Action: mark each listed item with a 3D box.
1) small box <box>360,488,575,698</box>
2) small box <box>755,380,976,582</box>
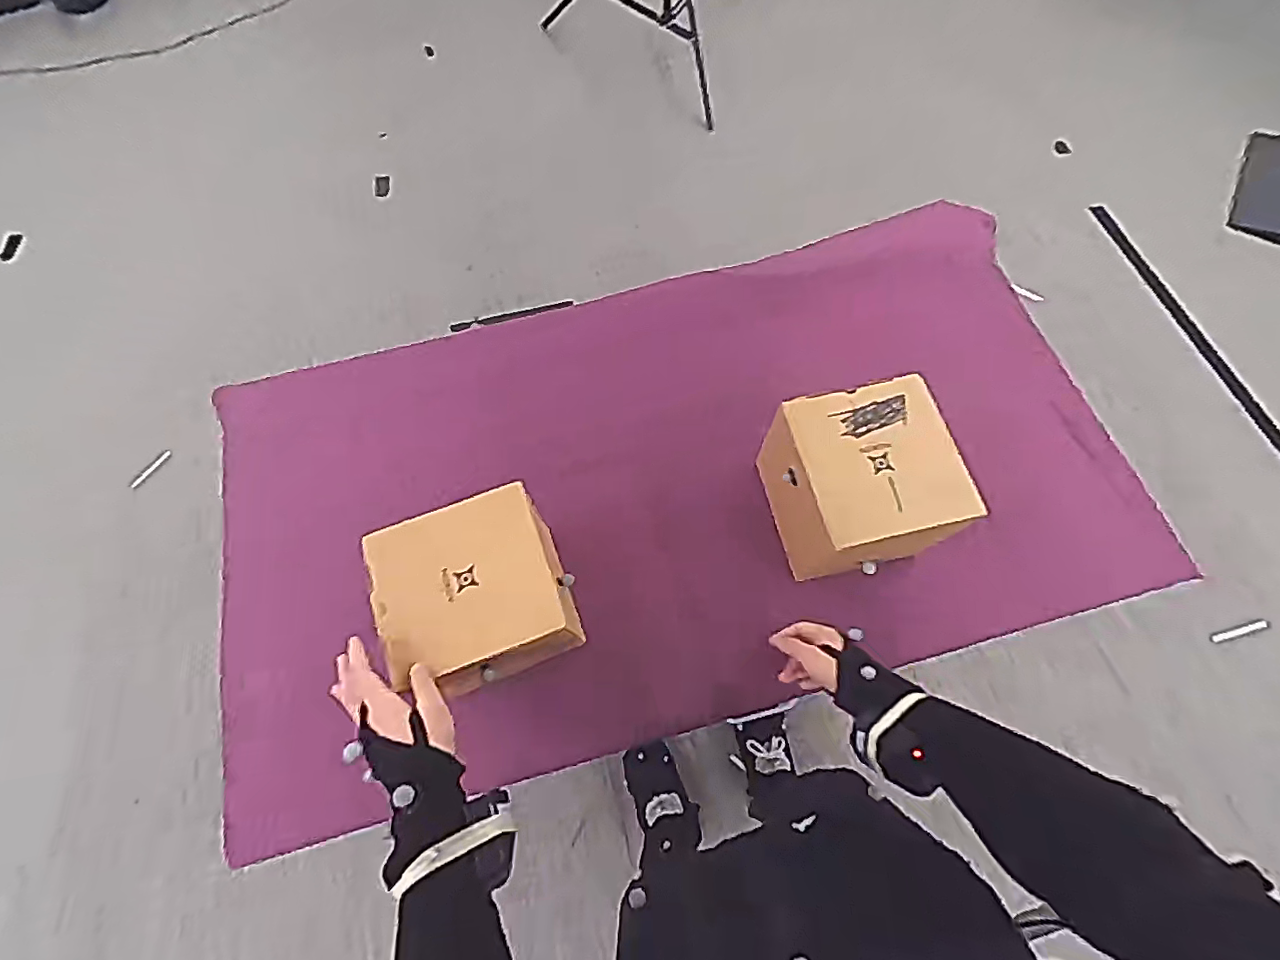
[{"bbox_3d":[-0.182,0.134,0.619,0.179,0.176,0.168,-21,70,-6],"label":"small box"},{"bbox_3d":[0.251,0.009,0.655,0.168,0.176,0.179,-12,69,-3],"label":"small box"}]
